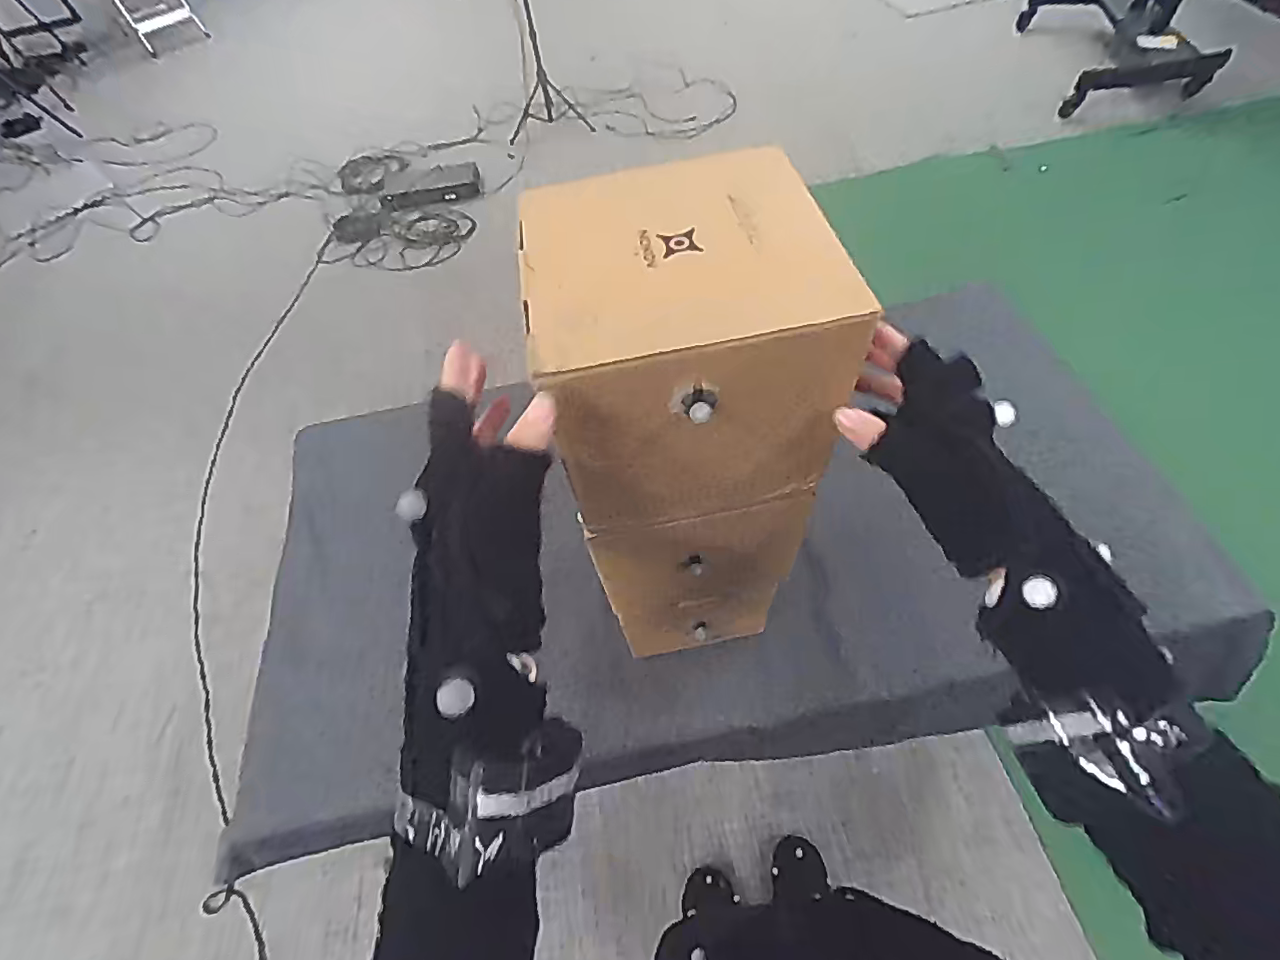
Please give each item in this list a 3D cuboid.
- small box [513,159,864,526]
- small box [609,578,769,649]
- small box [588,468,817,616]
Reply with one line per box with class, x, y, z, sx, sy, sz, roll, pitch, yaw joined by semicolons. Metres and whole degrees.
small box;0.022;-0.084;0.375;0.179;0.176;0.168;-10;58;-1
small box;0.045;0.092;0.649;0.168;0.176;0.179;-11;57;-1
small box;0.037;0.009;0.507;0.179;0.176;0.168;-13;57;-4
